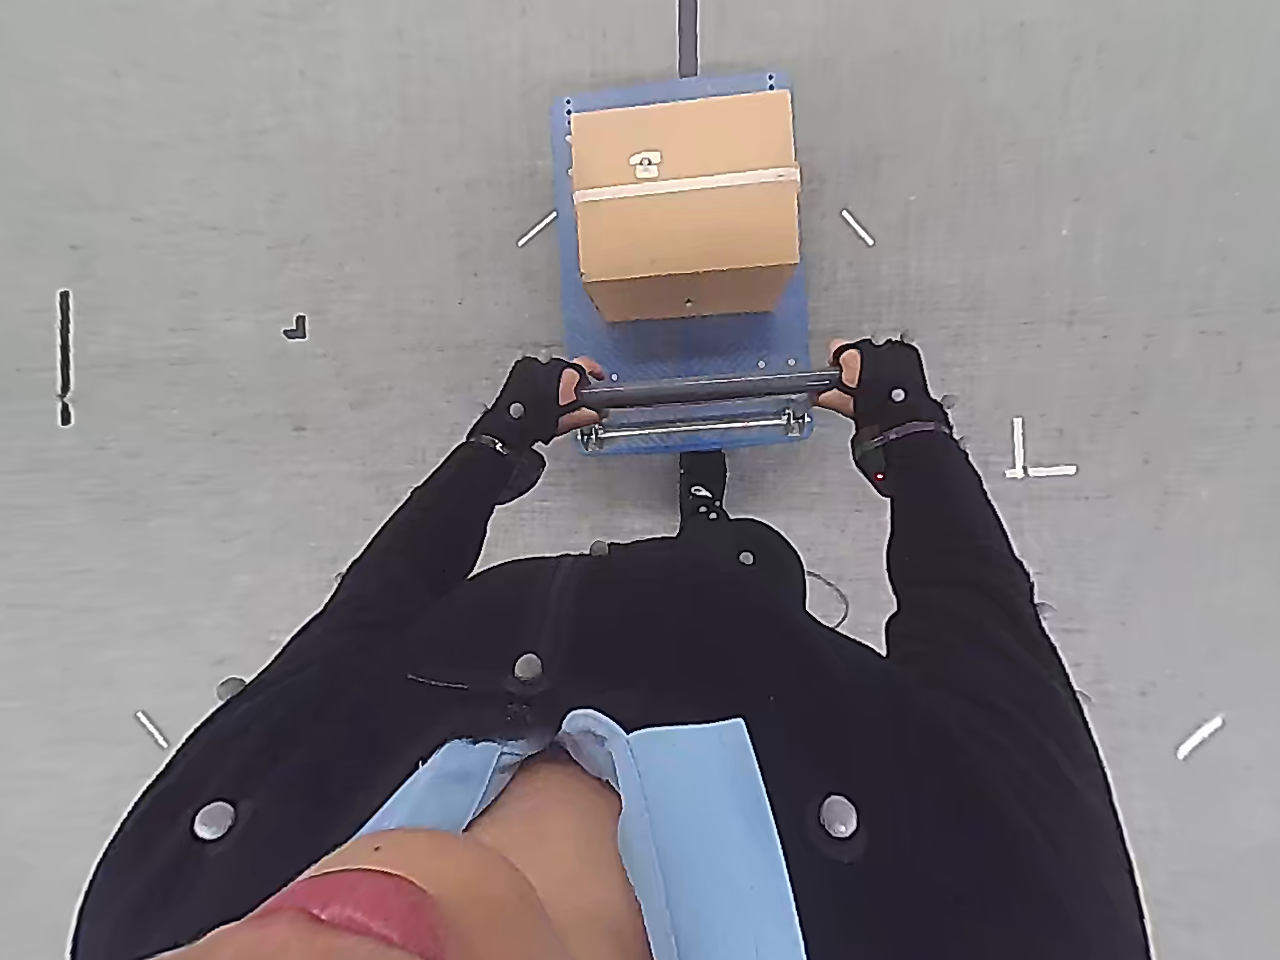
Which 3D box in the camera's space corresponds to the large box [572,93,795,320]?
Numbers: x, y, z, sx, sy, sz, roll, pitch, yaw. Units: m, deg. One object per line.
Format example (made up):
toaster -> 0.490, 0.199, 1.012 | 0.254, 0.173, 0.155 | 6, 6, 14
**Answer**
large box -> 0.094, -0.549, 1.161 | 0.408, 0.320, 0.320 | -4, 91, 6
